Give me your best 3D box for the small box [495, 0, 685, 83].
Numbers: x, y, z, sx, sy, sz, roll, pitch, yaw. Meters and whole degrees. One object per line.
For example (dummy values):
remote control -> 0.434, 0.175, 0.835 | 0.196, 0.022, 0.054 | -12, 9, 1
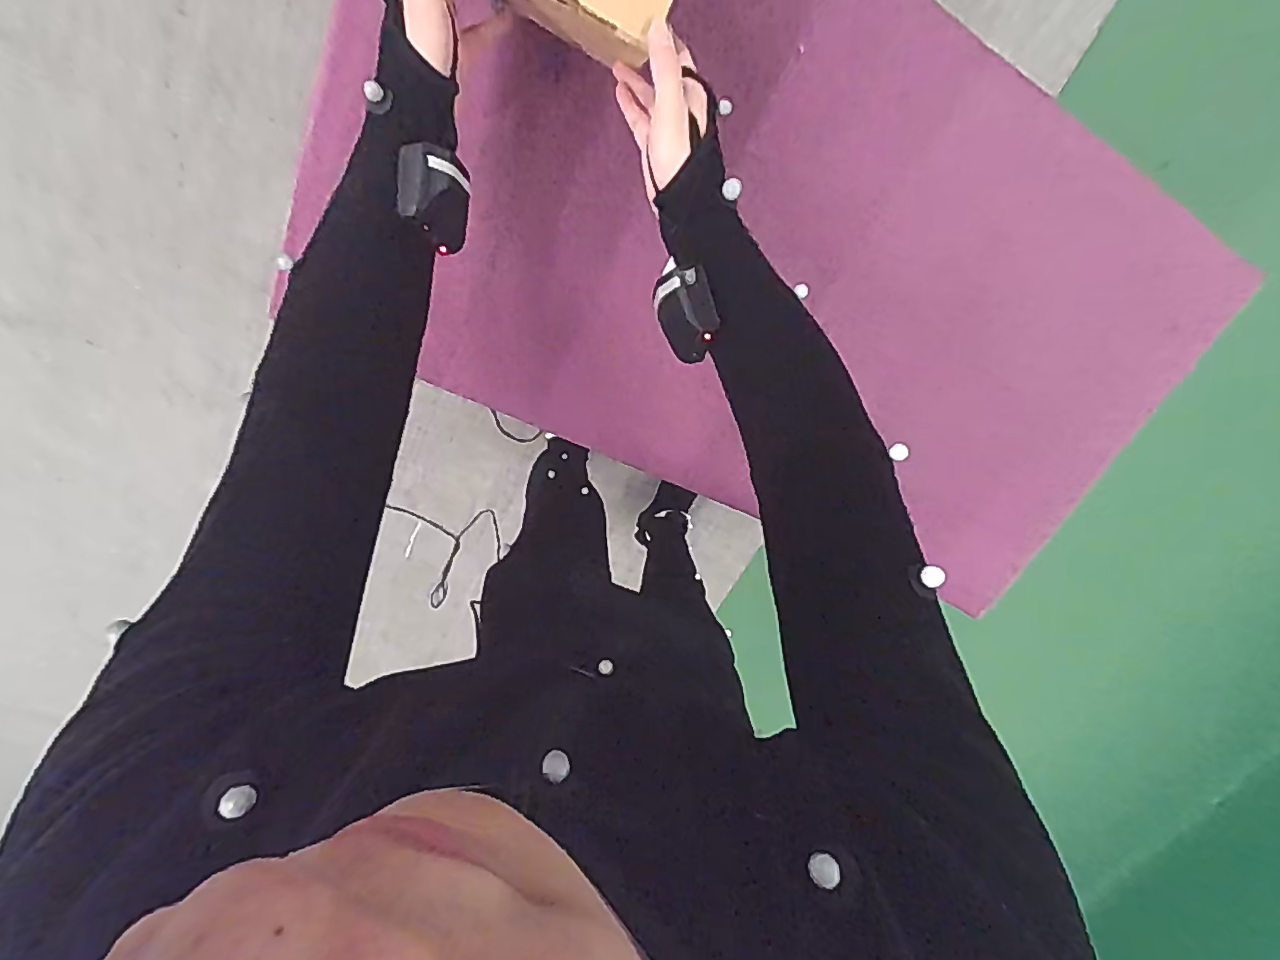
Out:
small box -> -0.032, -0.448, 0.419 | 0.168, 0.176, 0.179 | 19, 116, -20
